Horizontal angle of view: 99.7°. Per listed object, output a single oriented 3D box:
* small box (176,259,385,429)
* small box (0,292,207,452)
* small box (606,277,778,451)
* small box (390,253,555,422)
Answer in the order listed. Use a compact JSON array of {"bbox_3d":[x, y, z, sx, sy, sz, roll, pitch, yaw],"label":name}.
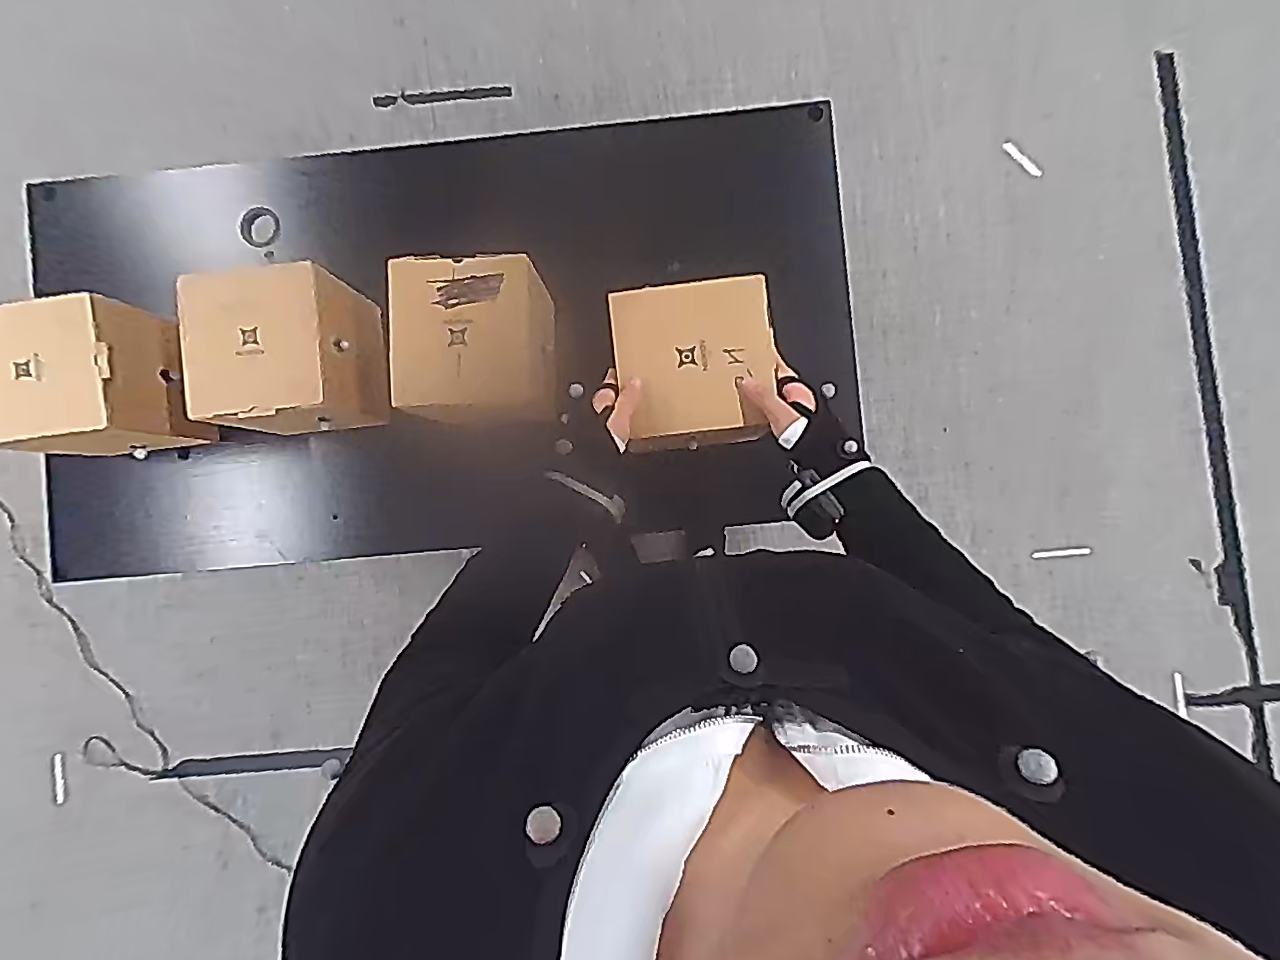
[{"bbox_3d":[-0.457,-0.165,0.714,0.168,0.176,0.179,-6,88,0],"label":"small box"},{"bbox_3d":[-0.717,-0.131,0.716,0.179,0.176,0.168,-7,88,0],"label":"small box"},{"bbox_3d":[0.059,-0.131,0.673,0.179,0.176,0.168,-7,88,1],"label":"small box"},{"bbox_3d":[-0.208,-0.175,0.707,0.168,0.176,0.179,-1,89,1],"label":"small box"}]
